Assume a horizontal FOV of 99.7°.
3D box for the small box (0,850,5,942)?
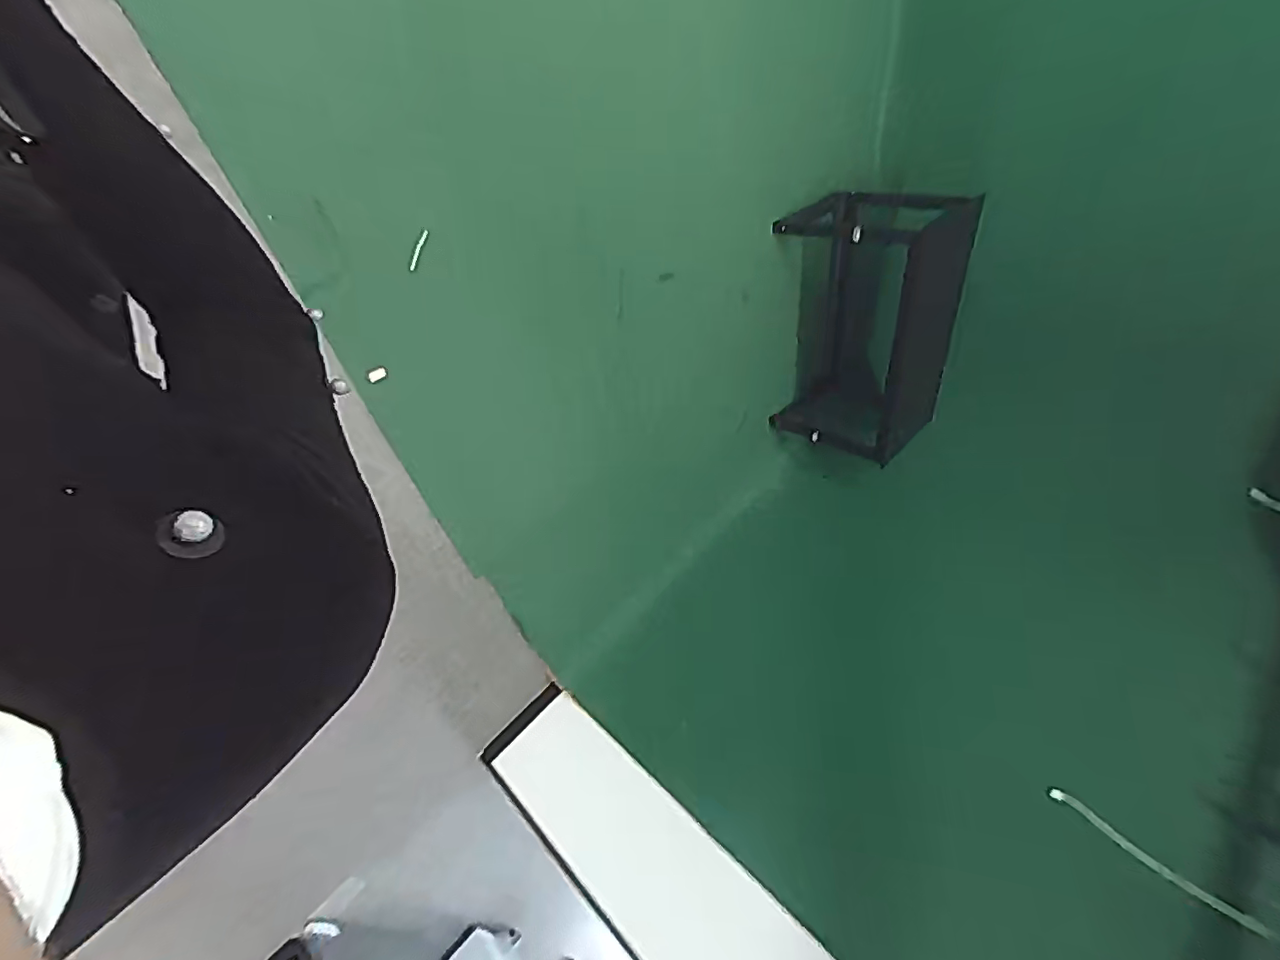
[{"bbox_3d":[-1.037,0.602,0.734,0.168,0.176,0.179,-34,134,-31],"label":"small box"}]
